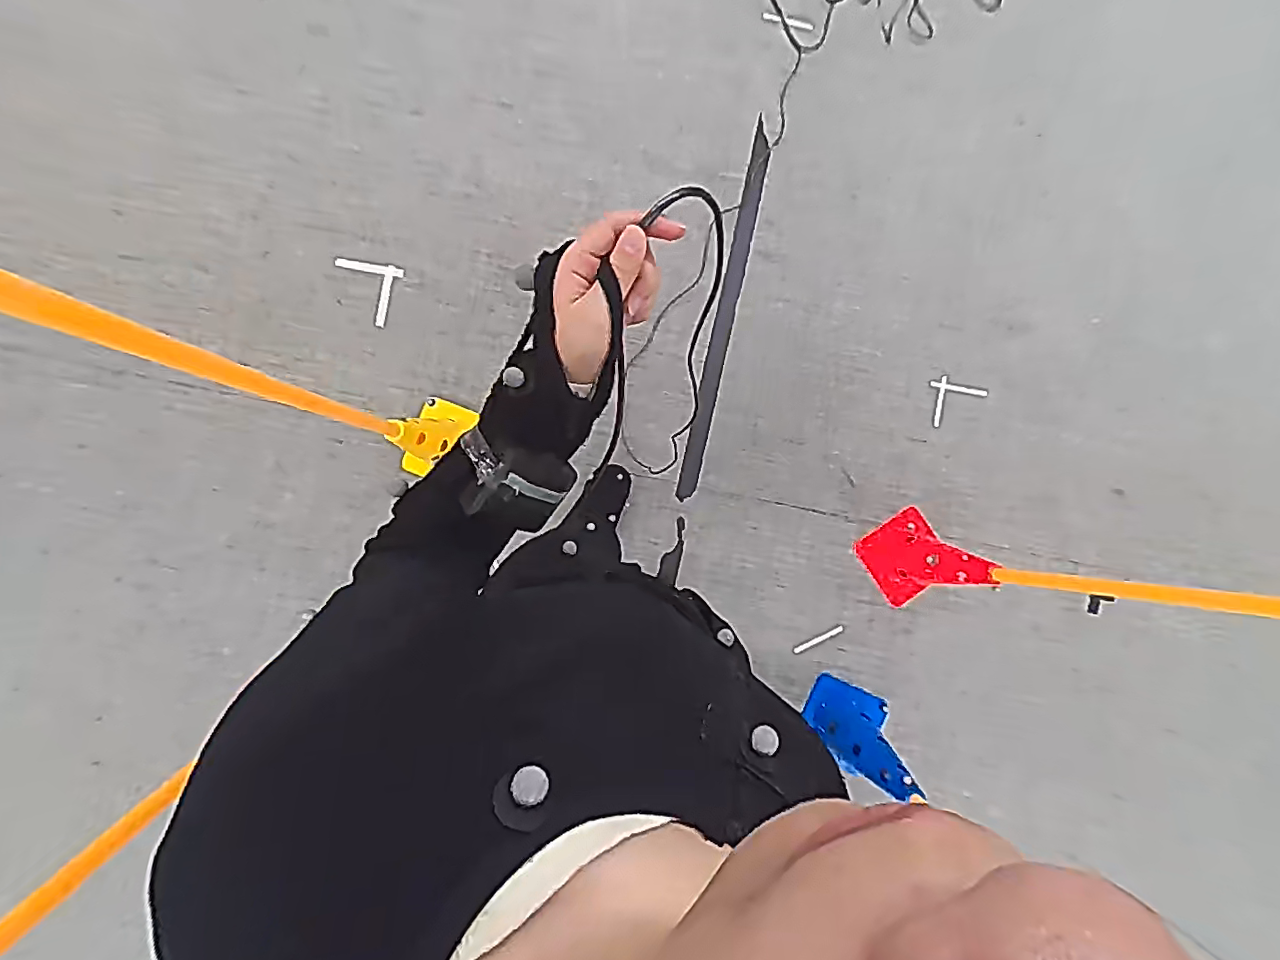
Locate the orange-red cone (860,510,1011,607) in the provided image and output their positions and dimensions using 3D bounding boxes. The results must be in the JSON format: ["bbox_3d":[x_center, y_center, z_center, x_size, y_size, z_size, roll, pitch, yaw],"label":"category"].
[{"bbox_3d":[0.684,0.192,1.201,0.199,0.360,0.198,-33,88,-2],"label":"orange-red cone"}]

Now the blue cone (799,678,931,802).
[{"bbox_3d":[0.515,0.602,1.191,0.193,0.380,0.192,27,86,-1],"label":"blue cone"}]
